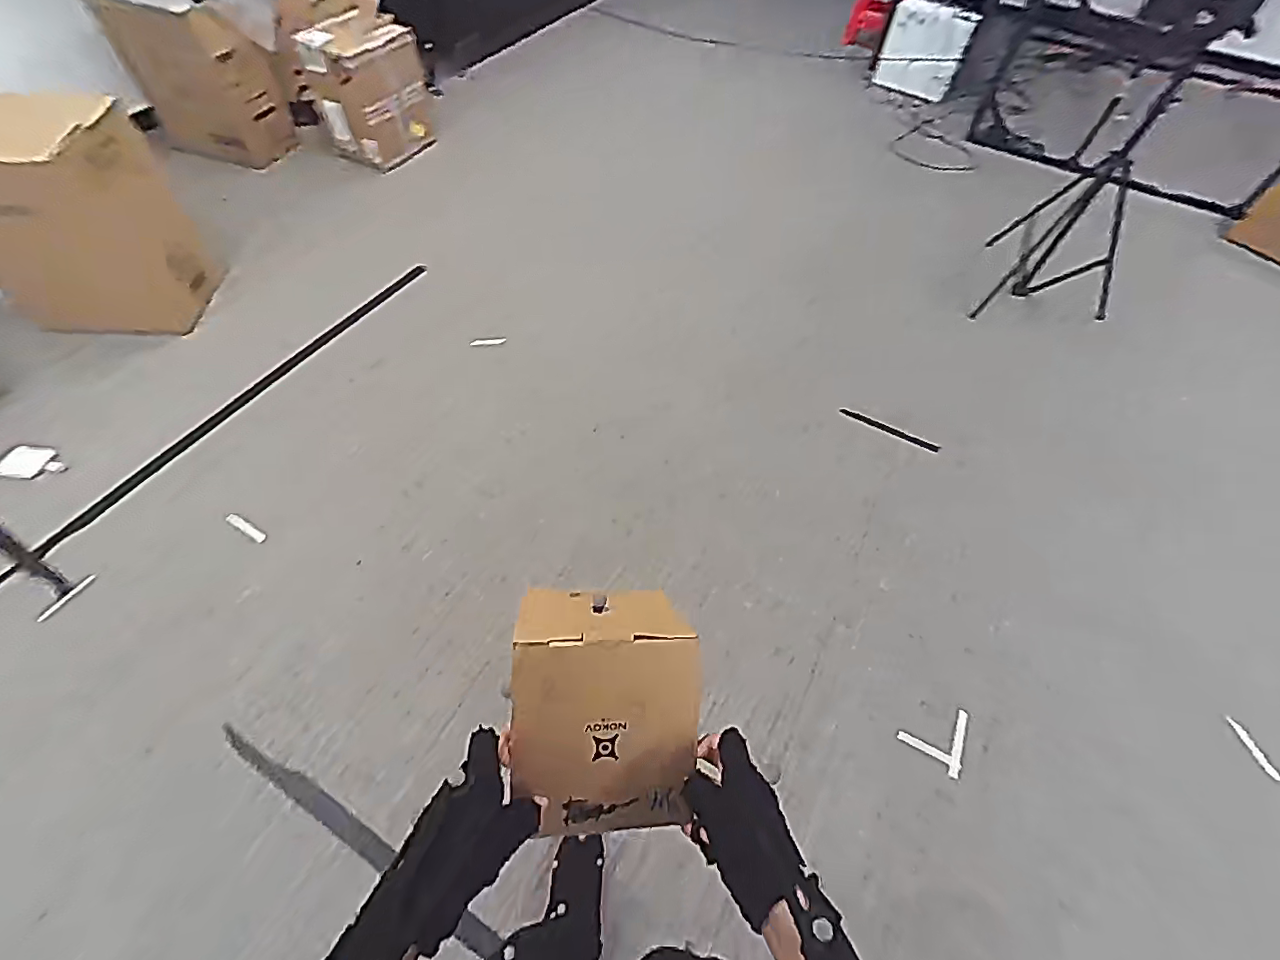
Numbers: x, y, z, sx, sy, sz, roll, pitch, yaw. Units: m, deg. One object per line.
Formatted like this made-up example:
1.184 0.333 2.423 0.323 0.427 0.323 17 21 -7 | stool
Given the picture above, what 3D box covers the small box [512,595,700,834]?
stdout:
-0.042 0.219 0.555 0.168 0.176 0.179 2 91 -10 | small box
